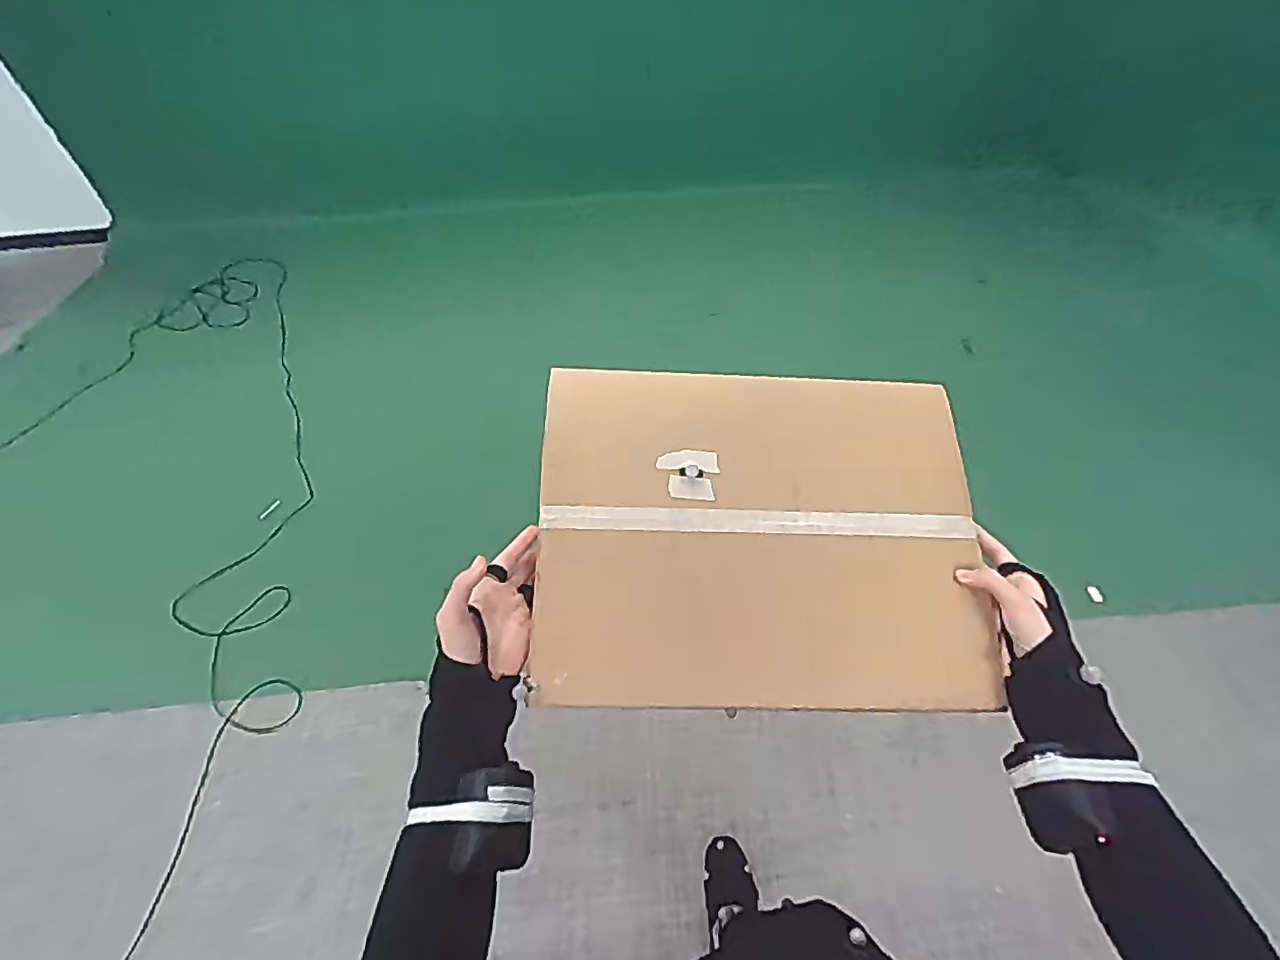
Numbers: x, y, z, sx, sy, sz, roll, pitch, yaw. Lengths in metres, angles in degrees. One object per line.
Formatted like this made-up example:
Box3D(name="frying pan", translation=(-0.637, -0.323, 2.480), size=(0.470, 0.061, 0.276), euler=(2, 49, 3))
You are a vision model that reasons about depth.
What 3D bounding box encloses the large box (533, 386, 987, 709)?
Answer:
Box3D(name="large box", translation=(0.102, 0.096, 0.653), size=(0.408, 0.320, 0.320), euler=(1, 70, -2))
